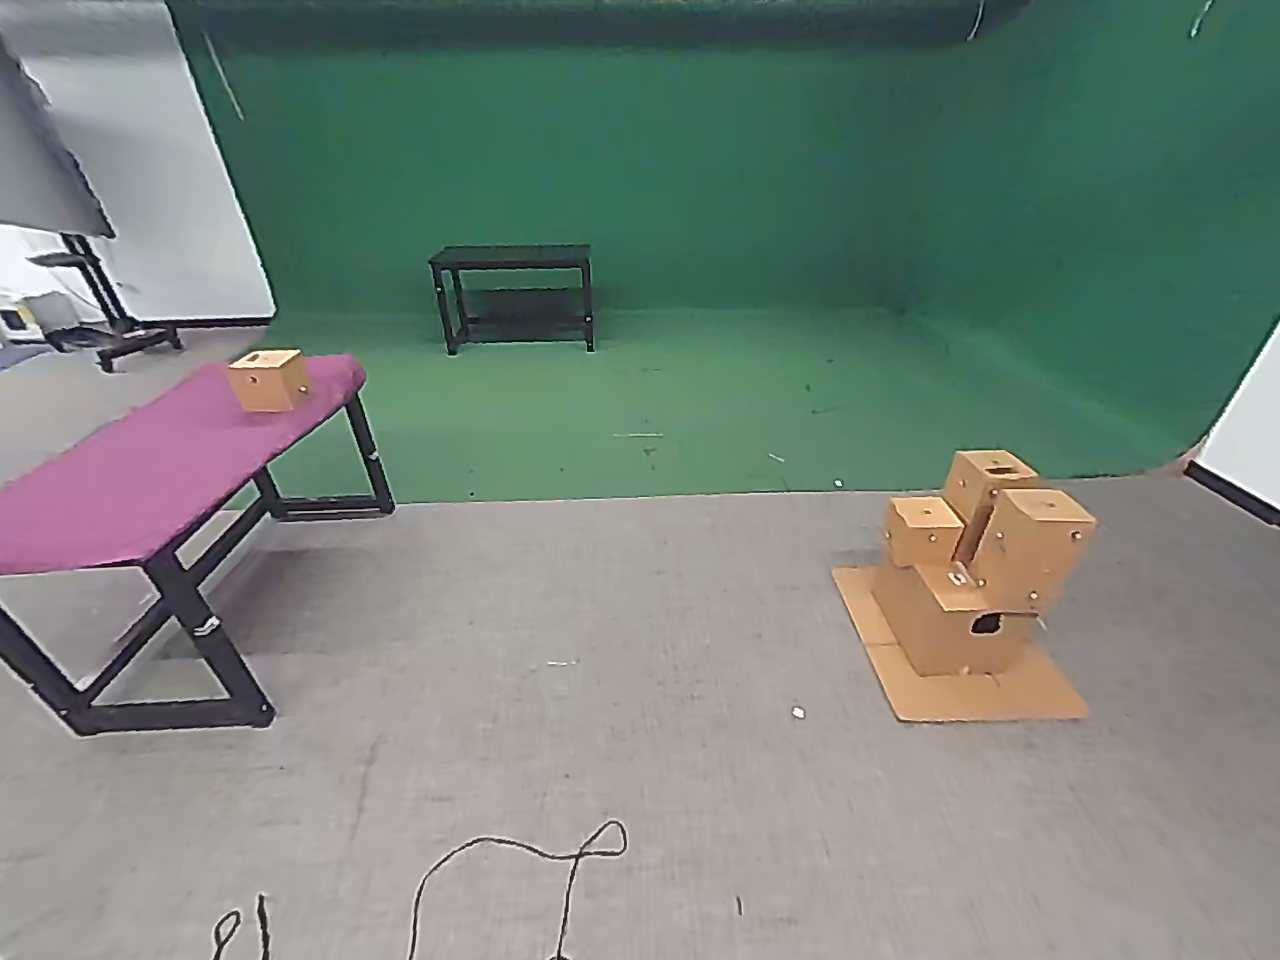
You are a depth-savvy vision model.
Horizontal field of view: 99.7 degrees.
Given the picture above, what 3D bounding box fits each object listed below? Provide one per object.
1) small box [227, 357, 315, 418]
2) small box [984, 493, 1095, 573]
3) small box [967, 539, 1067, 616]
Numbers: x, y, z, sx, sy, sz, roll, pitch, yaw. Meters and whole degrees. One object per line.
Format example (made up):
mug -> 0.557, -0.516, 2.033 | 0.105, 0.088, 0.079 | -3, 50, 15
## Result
small box -> -1.305, -0.329, 1.925 | 0.179, 0.176, 0.168 | -1, 33, -2
small box -> 1.139, 0.154, 1.560 | 0.179, 0.176, 0.168 | 1, 30, 2
small box -> 1.138, 0.296, 1.647 | 0.168, 0.176, 0.179 | 0, 30, 1
